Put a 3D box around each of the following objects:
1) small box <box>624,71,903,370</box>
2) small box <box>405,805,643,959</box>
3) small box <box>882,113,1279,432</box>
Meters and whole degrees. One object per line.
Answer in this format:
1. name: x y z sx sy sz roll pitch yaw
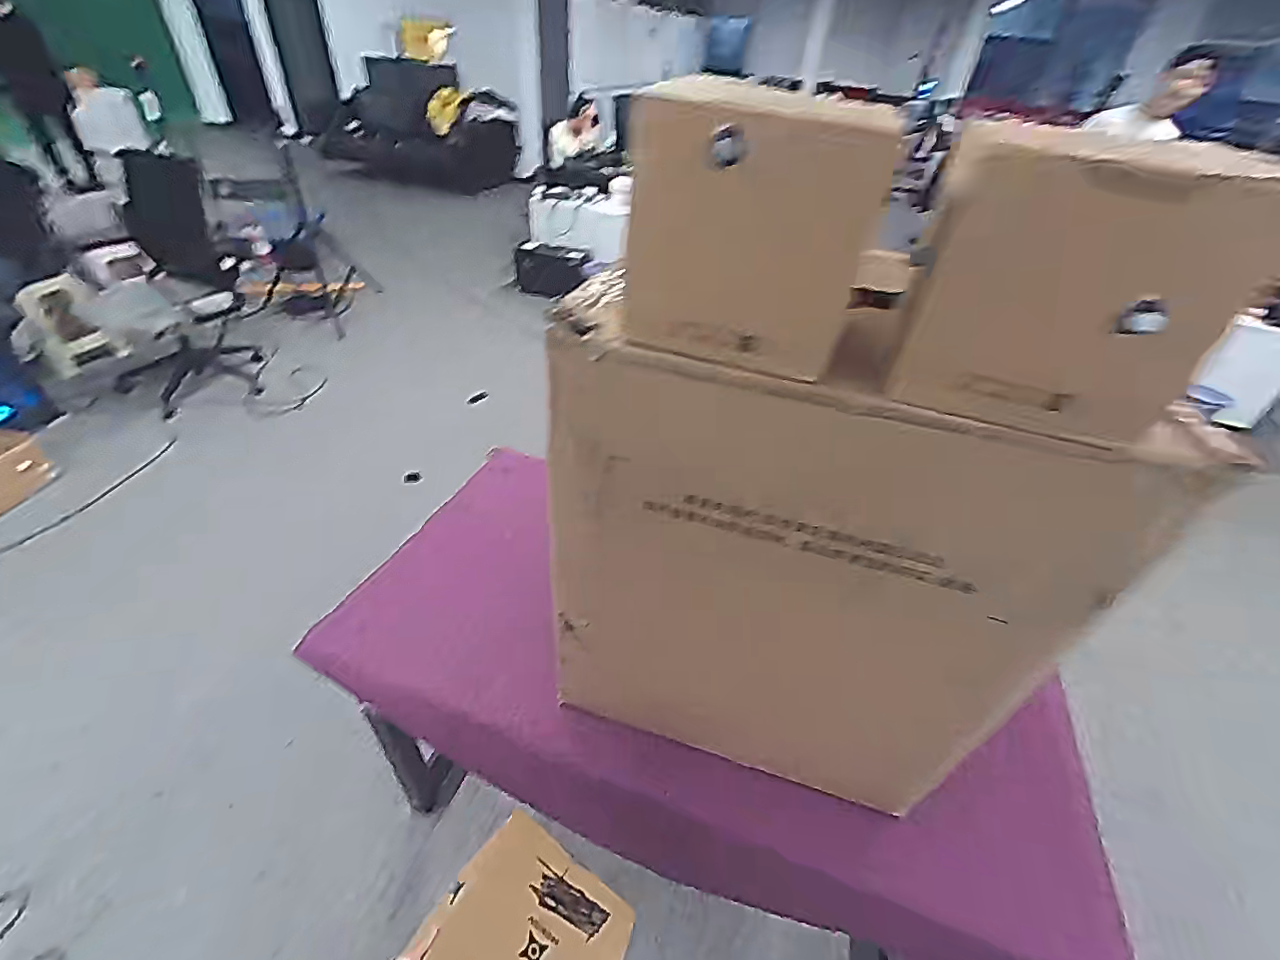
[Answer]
1. small box: 0.090 -0.212 0.435 0.168 0.176 0.179 14 39 10
2. small box: -0.127 0.470 0.511 0.168 0.176 0.179 38 21 6
3. small box: 0.292 -0.157 0.398 0.168 0.176 0.179 17 39 13
